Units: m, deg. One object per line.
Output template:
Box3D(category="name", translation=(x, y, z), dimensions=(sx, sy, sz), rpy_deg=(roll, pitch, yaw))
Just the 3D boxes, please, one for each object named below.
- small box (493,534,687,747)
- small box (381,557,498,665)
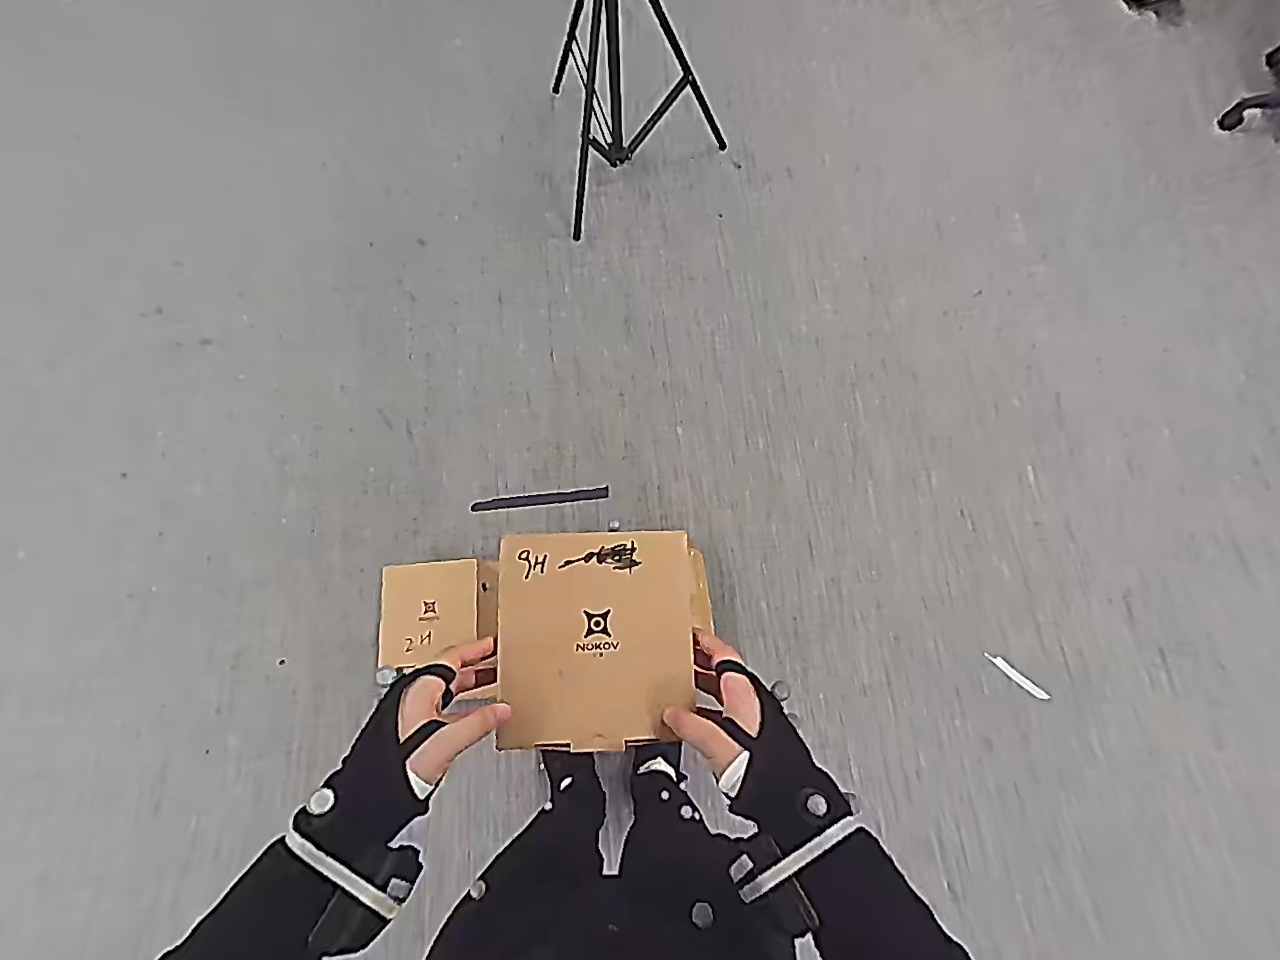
Box3D(category="small box", translation=(-0.046, 0.151, 0.545), dimensions=(0.168, 0.176, 0.179), rpy_deg=(-1, 78, -4))
Box3D(category="small box", translation=(-0.360, 0.247, 1.008), dimensions=(0.168, 0.176, 0.179), rpy_deg=(-4, 74, -2))
